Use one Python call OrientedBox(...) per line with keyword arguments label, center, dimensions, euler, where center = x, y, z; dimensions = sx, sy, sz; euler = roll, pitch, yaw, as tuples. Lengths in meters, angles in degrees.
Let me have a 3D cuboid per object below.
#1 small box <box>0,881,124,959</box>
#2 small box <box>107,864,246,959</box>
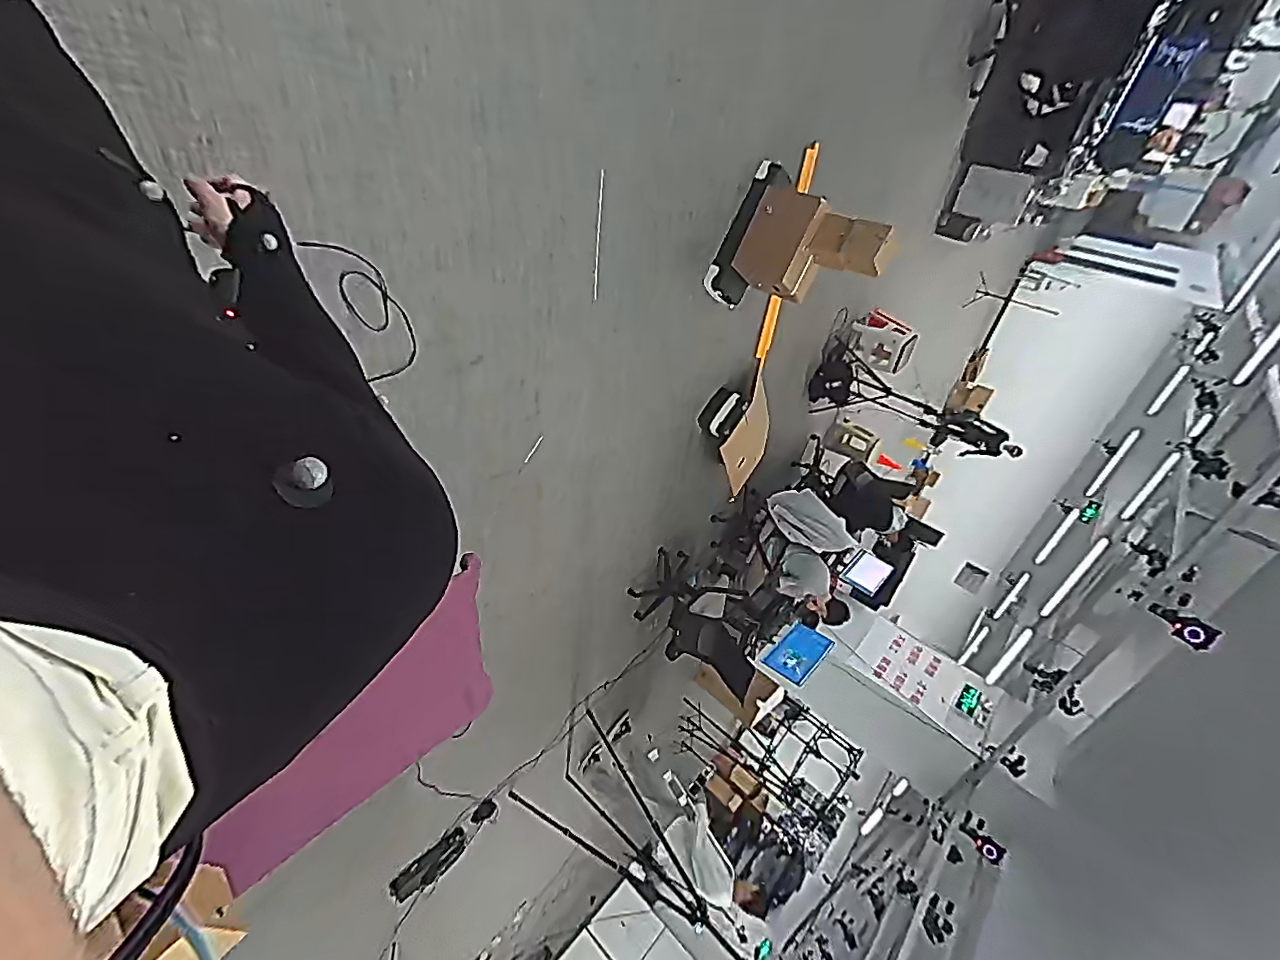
OrientedBox(label="small box", center=(-1.015, 0.810, 0.881), dimensions=(0.179, 0.176, 0.168), euler=(-52, 151, -13))
OrientedBox(label="small box", center=(-0.950, 0.911, 1.080), dimensions=(0.168, 0.176, 0.179), euler=(-41, 147, -28))
